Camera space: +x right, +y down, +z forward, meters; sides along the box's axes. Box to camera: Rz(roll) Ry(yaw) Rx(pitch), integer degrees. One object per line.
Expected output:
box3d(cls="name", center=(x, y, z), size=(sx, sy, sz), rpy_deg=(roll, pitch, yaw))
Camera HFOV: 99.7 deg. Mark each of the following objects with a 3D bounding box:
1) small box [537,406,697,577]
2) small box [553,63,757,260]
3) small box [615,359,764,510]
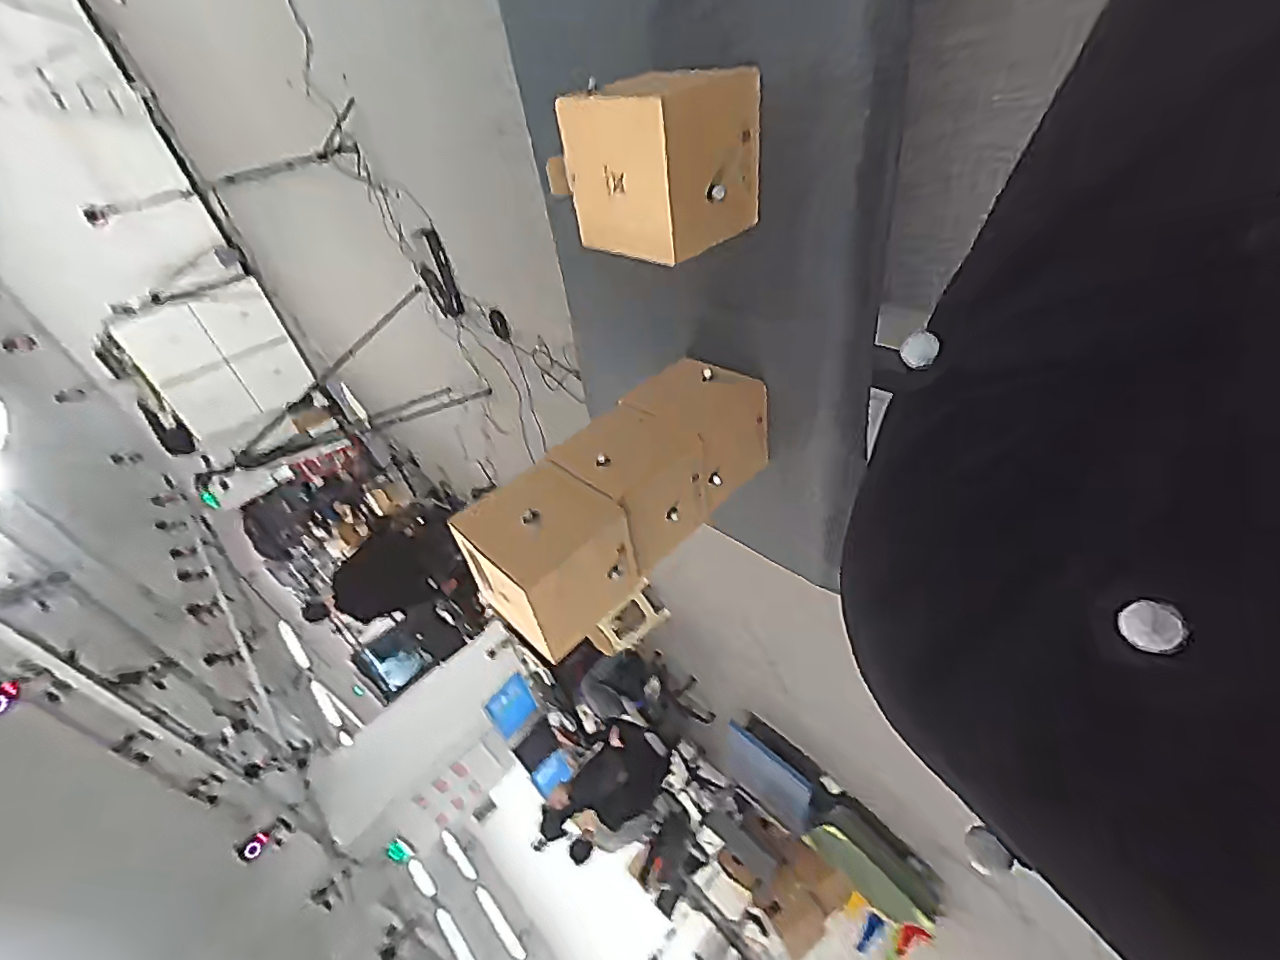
box3d(cls="small box", center=(-0.024, 0.008, 0.830), size=(0.179, 0.176, 0.168), rpy_deg=(29, 142, 37))
box3d(cls="small box", center=(0.027, -0.392, 0.661), size=(0.179, 0.176, 0.168), rpy_deg=(30, 145, 36))
box3d(cls="small box", center=(0.086, -0.086, 0.909), size=(0.179, 0.176, 0.168), rpy_deg=(29, 143, 38))
